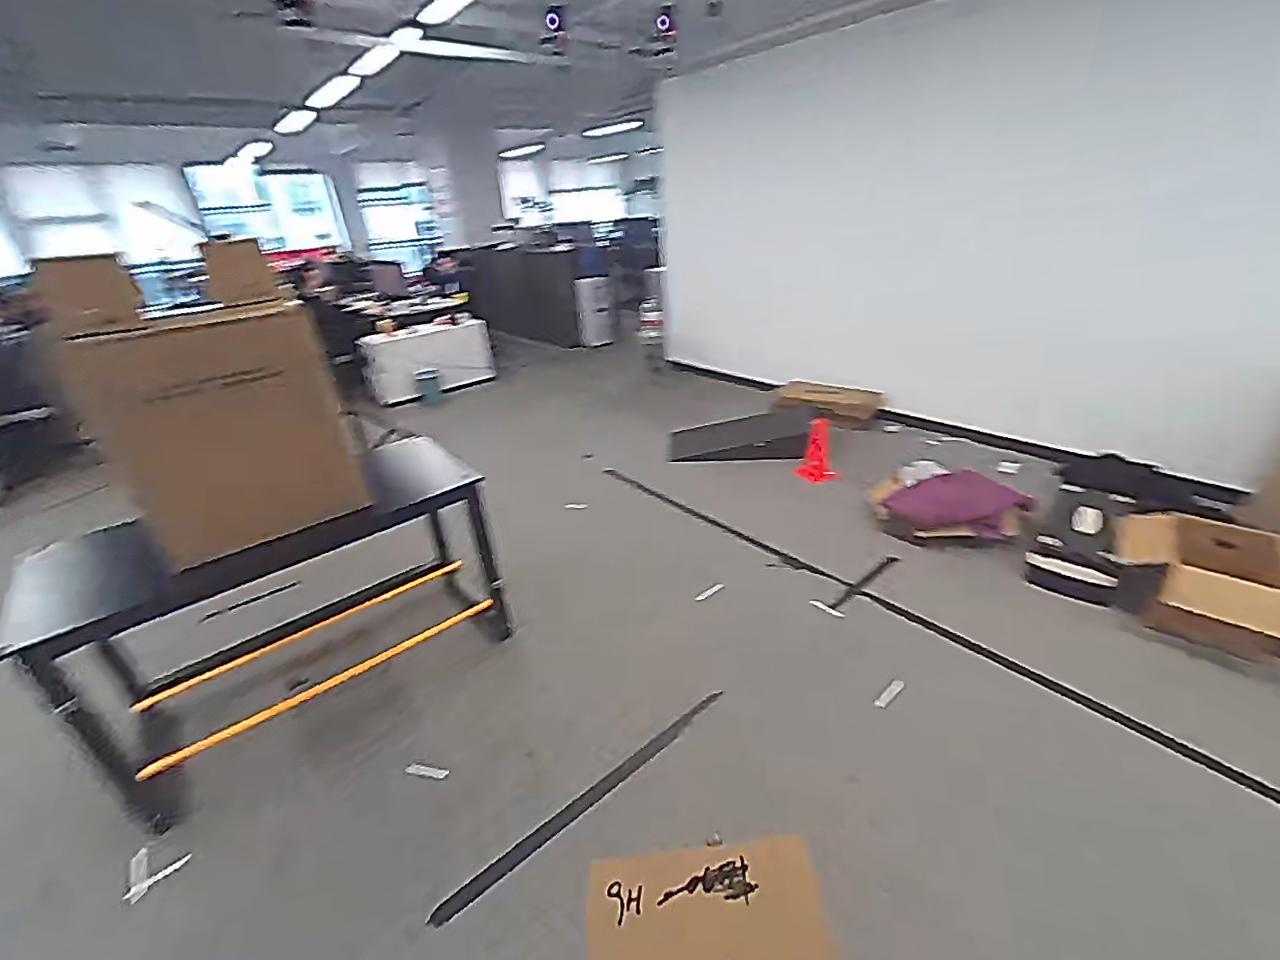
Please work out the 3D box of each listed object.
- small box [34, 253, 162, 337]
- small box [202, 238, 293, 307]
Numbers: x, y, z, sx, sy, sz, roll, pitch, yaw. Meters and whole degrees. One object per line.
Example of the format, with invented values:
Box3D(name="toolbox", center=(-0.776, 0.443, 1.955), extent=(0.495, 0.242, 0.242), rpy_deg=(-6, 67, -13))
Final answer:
Box3D(name="small box", center=(-1.278, -0.443, 1.288), extent=(0.168, 0.176, 0.179), rpy_deg=(-23, 34, -34))
Box3D(name="small box", center=(-1.155, -0.609, 1.592), extent=(0.168, 0.176, 0.179), rpy_deg=(-25, 31, -33))
